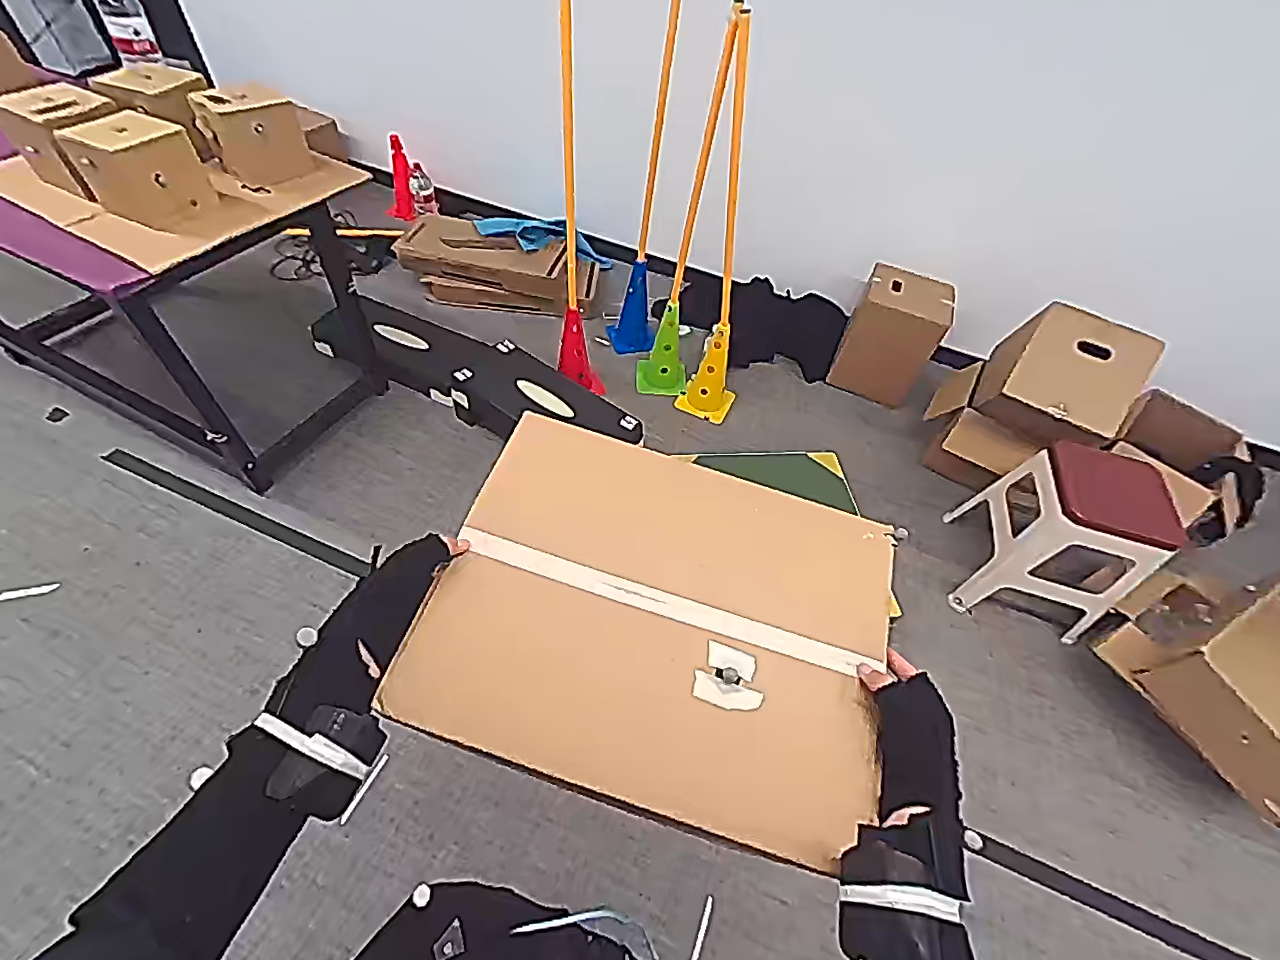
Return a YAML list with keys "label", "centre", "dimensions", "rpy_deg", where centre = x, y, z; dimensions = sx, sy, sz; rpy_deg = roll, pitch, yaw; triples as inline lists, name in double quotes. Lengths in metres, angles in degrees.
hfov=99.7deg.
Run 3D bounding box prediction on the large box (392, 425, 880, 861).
- label: "large box"
  centre: [0.006, 0.192, 0.632]
  dimensions: [0.408, 0.320, 0.320]
  rpy_deg: [18, 60, 2]
